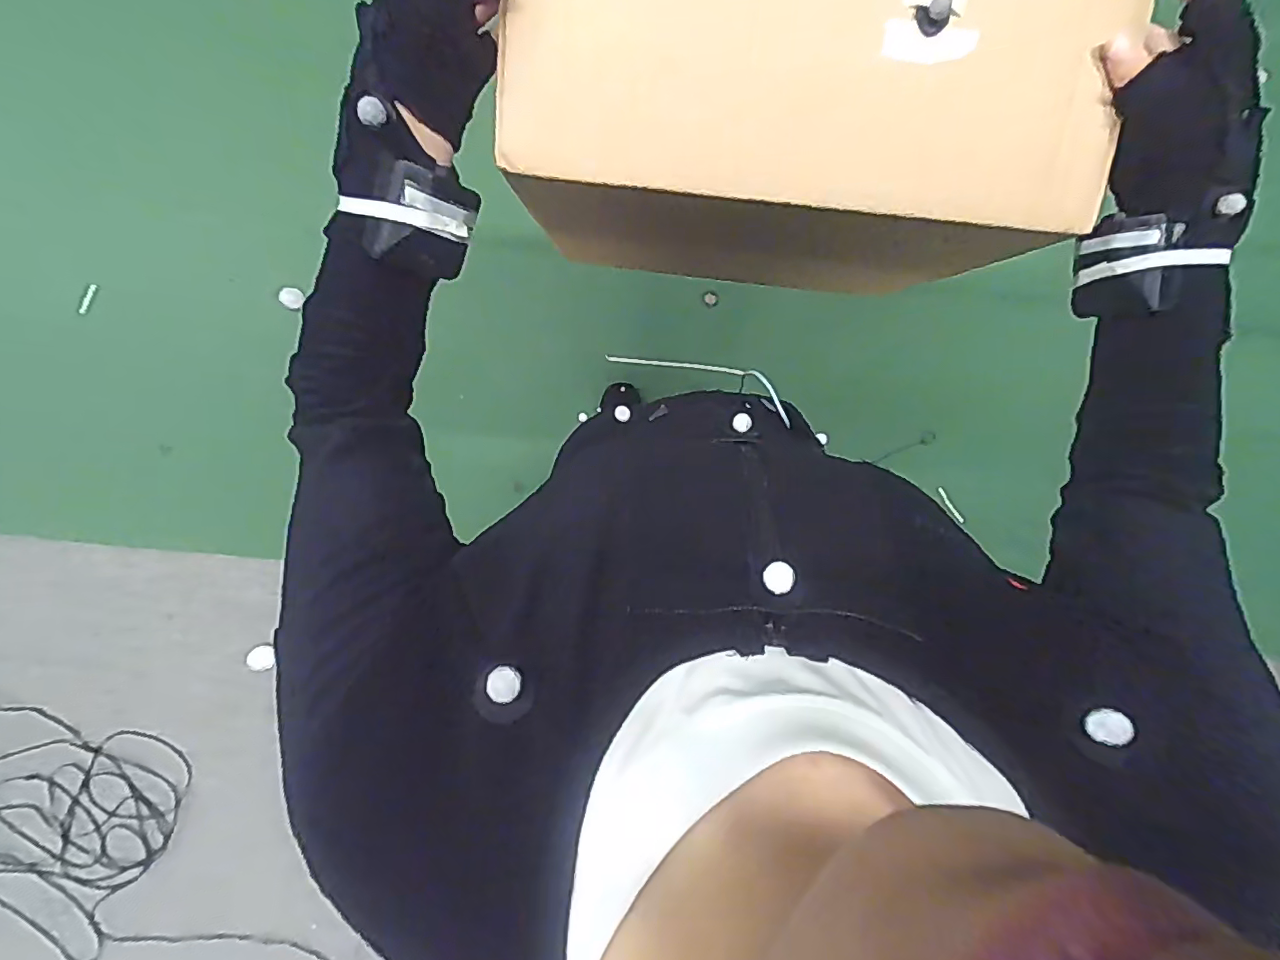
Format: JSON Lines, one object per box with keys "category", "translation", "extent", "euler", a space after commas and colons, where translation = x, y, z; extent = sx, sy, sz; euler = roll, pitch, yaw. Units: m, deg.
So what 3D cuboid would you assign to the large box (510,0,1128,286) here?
{"category": "large box", "translation": [0.118, -0.374, 0.490], "extent": [0.408, 0.320, 0.320], "euler": [6, 102, -1]}
